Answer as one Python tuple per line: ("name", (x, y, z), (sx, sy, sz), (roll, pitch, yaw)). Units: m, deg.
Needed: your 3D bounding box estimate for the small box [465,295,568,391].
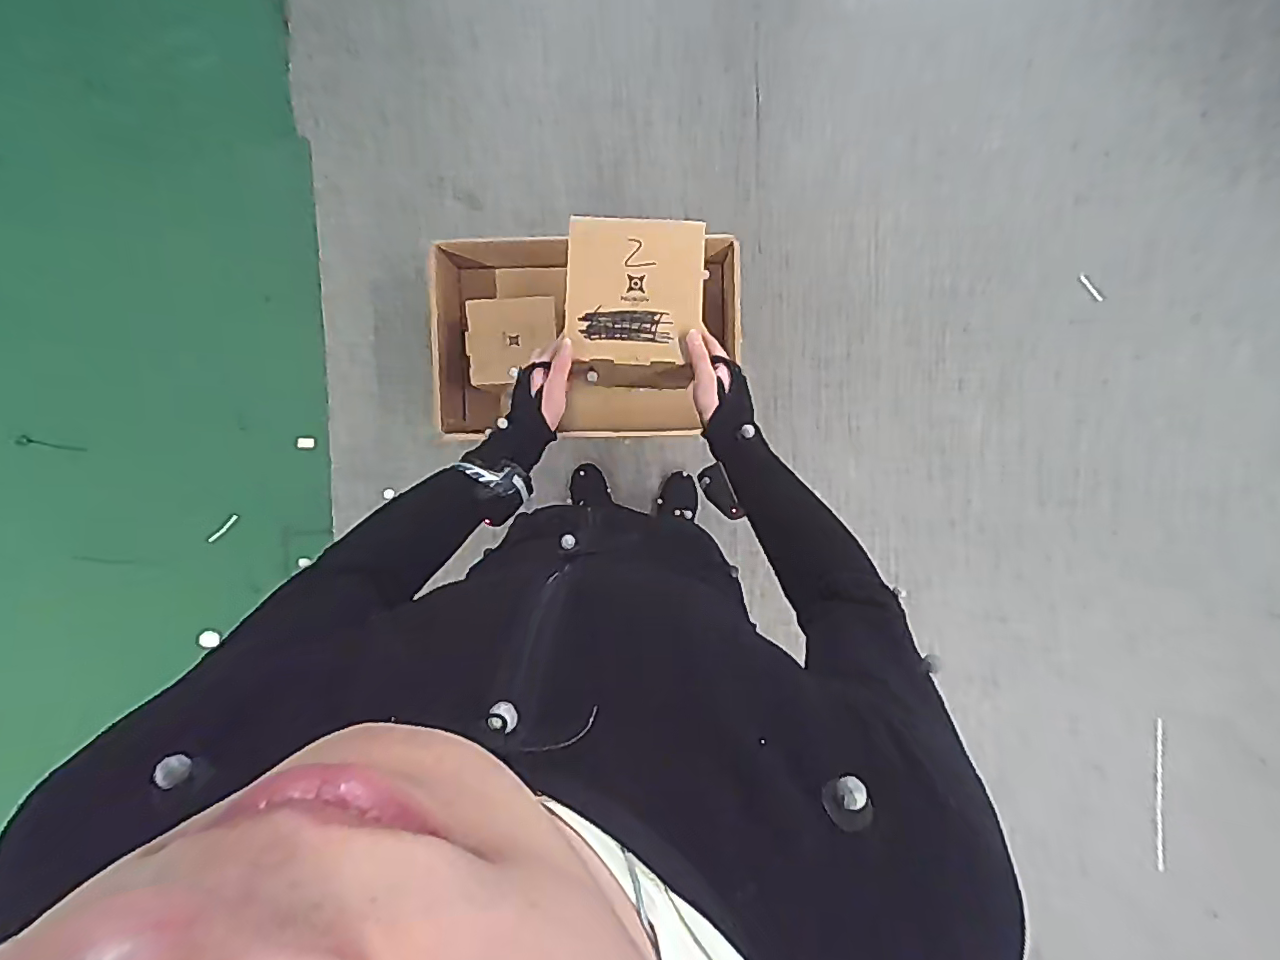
("small box", (-0.250, -0.279, 1.127), (0.179, 0.176, 0.168), (-2, 93, -1))
